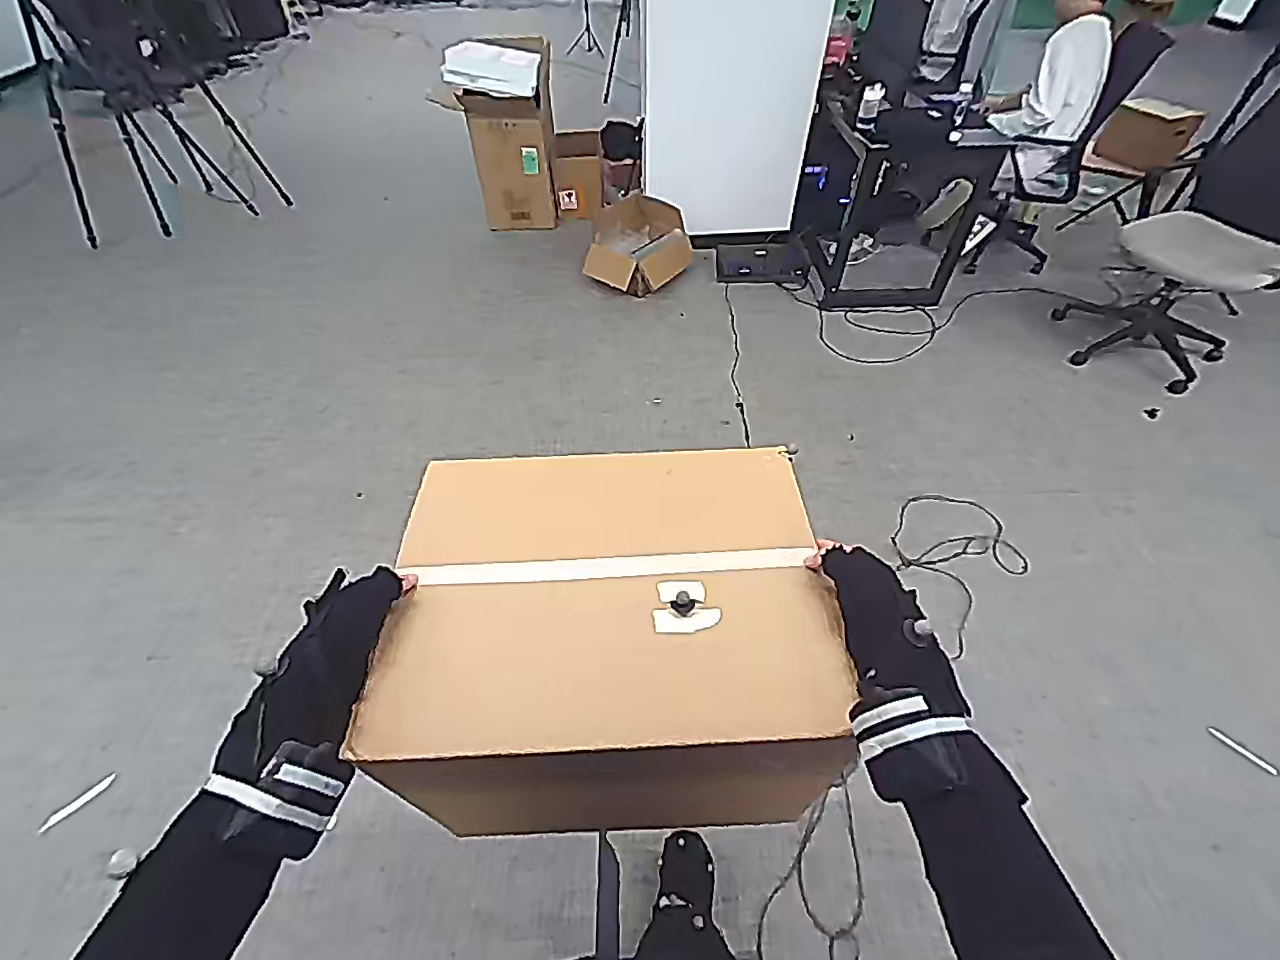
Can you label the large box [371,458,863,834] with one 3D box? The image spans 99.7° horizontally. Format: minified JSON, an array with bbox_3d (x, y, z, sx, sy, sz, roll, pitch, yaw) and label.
[{"bbox_3d":[-0.022,0.196,0.638,0.408,0.320,0.320,-2,47,-1],"label":"large box"}]
